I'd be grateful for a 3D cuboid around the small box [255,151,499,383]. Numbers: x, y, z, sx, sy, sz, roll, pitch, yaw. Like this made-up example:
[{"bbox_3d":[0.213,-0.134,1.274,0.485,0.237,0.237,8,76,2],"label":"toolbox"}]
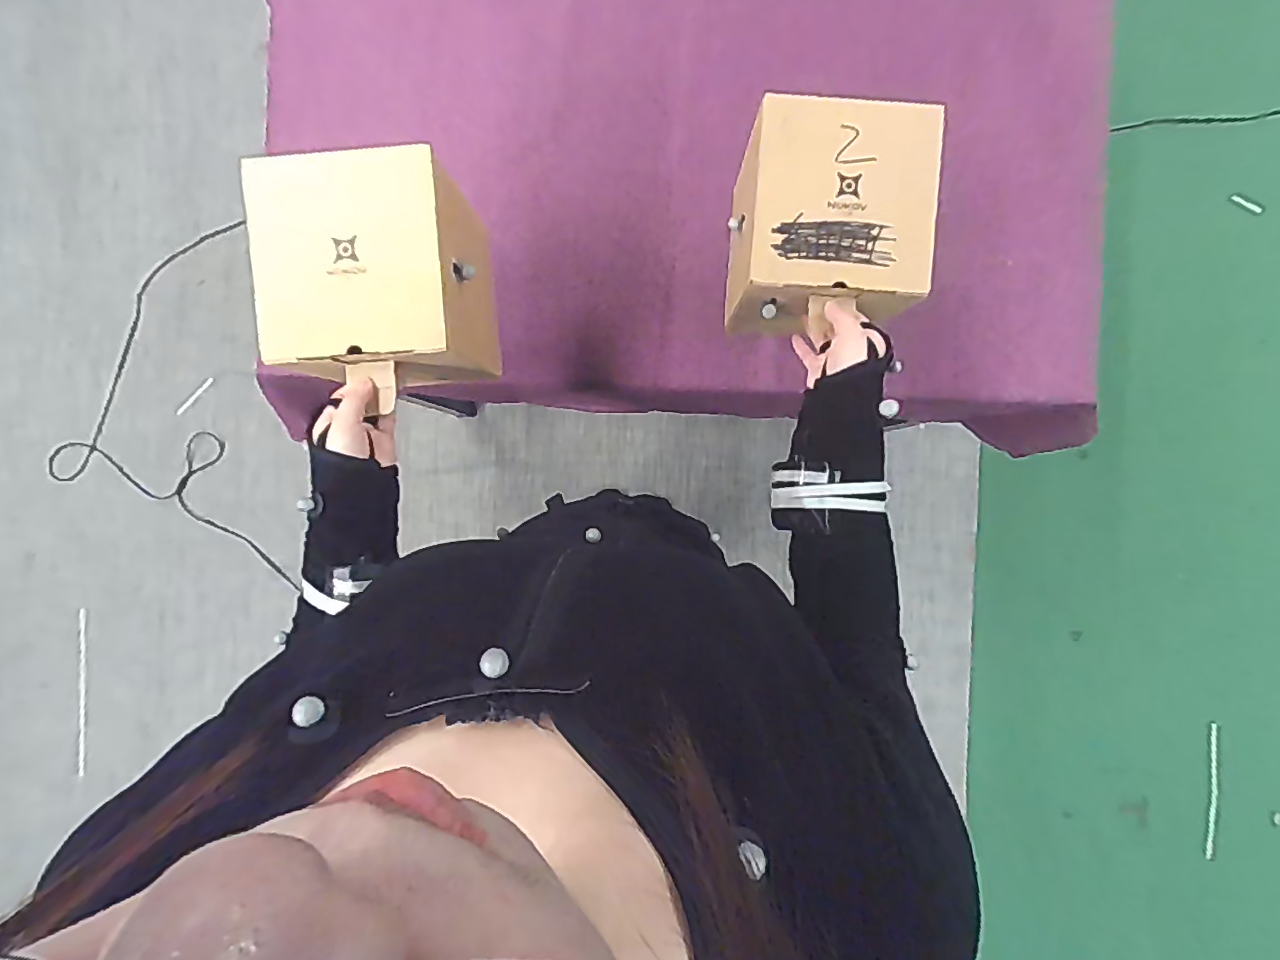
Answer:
[{"bbox_3d":[-0.252,-0.202,0.558,0.168,0.176,0.179,-4,94,1],"label":"small box"}]
